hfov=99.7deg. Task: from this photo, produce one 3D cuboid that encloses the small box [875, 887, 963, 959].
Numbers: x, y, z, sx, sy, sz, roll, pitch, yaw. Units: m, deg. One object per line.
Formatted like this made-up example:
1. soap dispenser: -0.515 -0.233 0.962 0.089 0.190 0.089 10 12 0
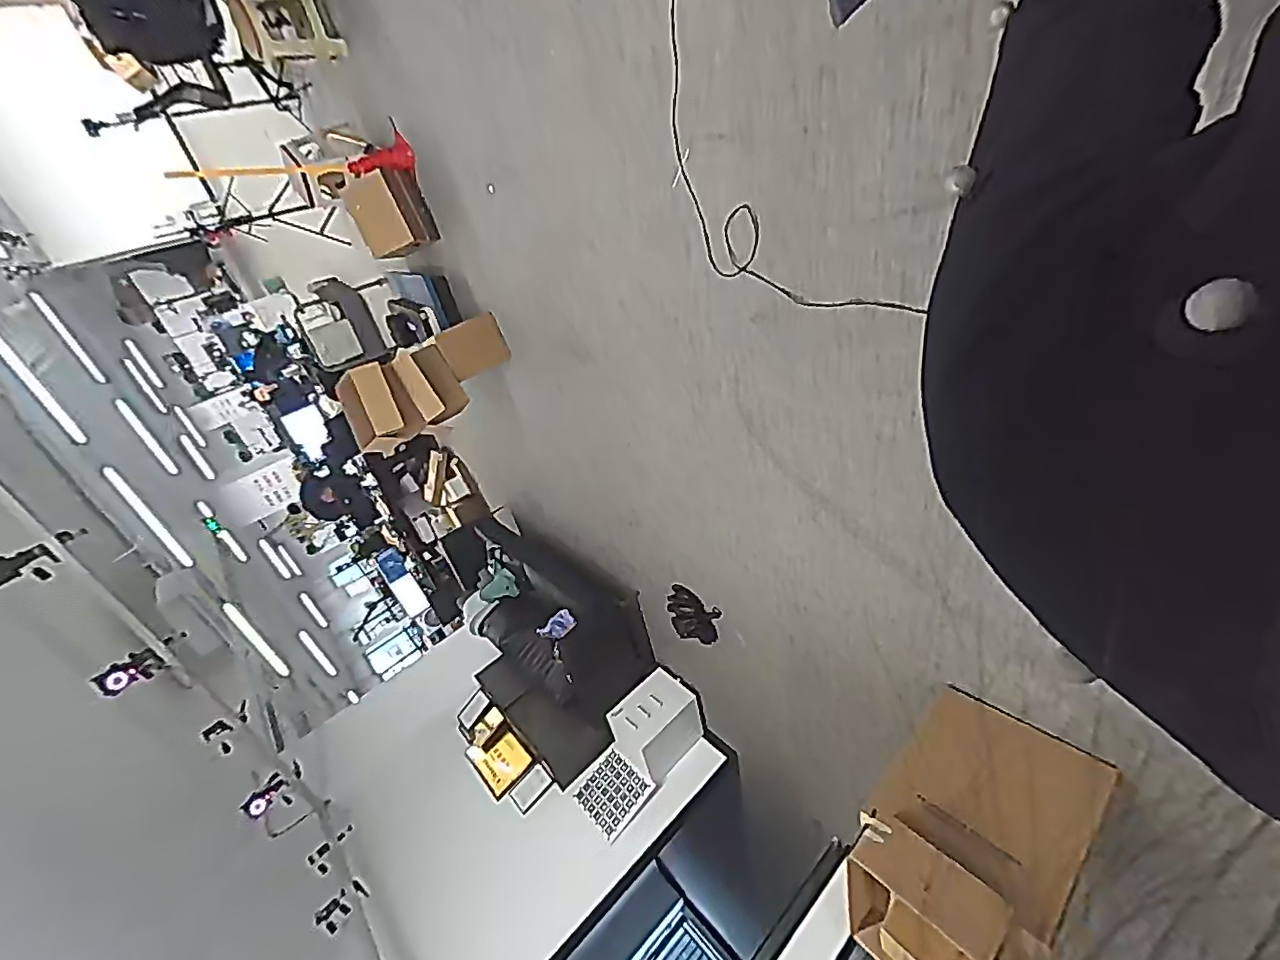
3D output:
1. small box: 0.827 1.363 1.608 0.179 0.176 0.168 23 139 47
